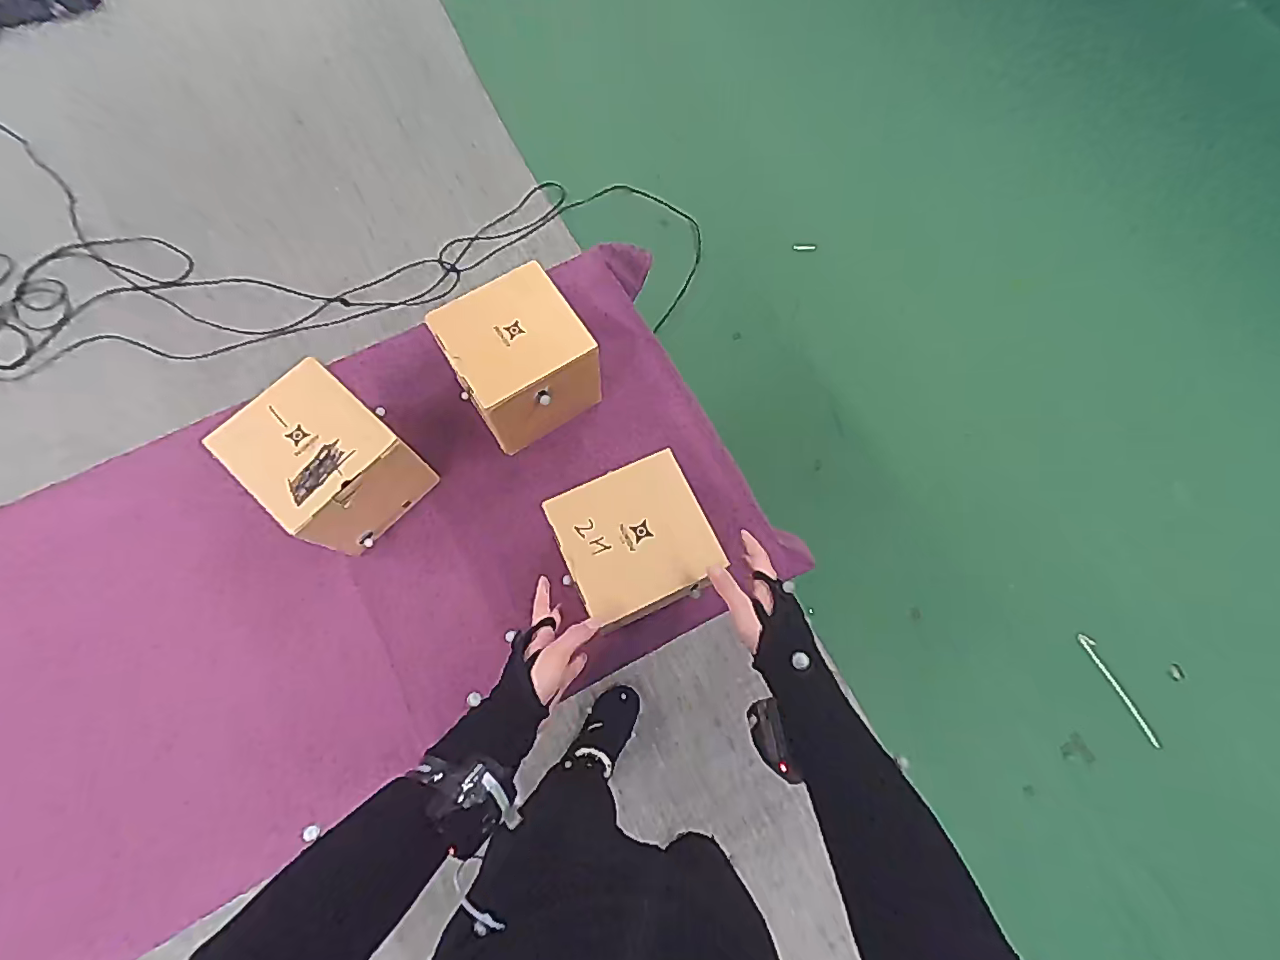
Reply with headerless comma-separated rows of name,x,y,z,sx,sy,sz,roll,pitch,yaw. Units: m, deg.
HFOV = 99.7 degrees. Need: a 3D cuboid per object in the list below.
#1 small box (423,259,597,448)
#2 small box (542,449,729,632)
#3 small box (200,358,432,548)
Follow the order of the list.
small box,-0.176,-0.174,0.788,0.179,0.176,0.168,-33,78,-10
small box,-0.009,0.086,0.710,0.179,0.176,0.168,-24,74,-8
small box,-0.418,-0.024,0.733,0.179,0.176,0.168,41,76,10
